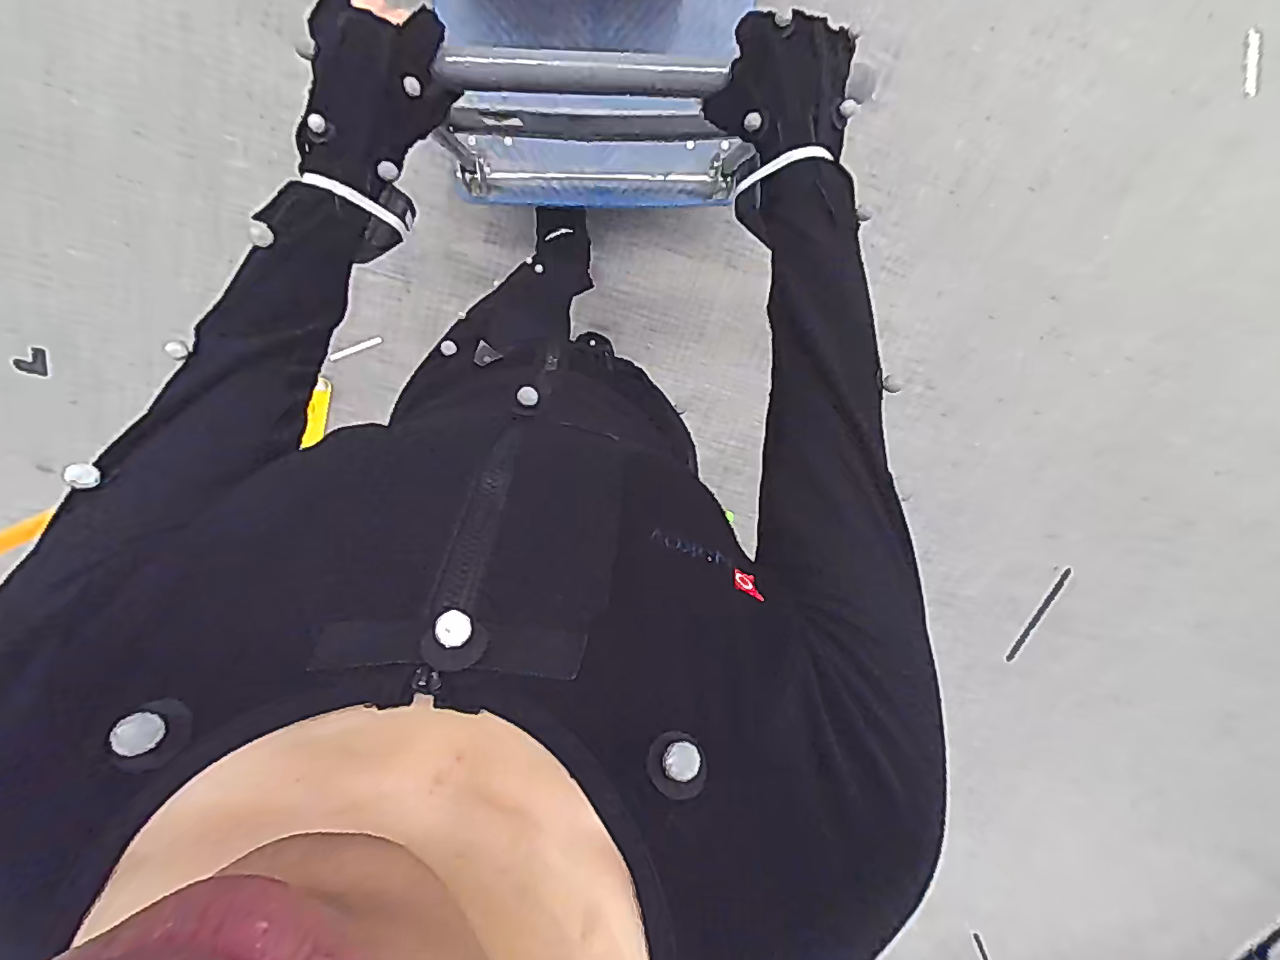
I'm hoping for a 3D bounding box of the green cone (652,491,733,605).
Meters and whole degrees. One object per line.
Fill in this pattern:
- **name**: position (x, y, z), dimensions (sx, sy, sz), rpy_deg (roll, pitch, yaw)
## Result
- **green cone**: position (0.170, 0.210, 1.446), dimensions (0.202, 0.368, 0.200), rpy_deg (18, 111, -13)
